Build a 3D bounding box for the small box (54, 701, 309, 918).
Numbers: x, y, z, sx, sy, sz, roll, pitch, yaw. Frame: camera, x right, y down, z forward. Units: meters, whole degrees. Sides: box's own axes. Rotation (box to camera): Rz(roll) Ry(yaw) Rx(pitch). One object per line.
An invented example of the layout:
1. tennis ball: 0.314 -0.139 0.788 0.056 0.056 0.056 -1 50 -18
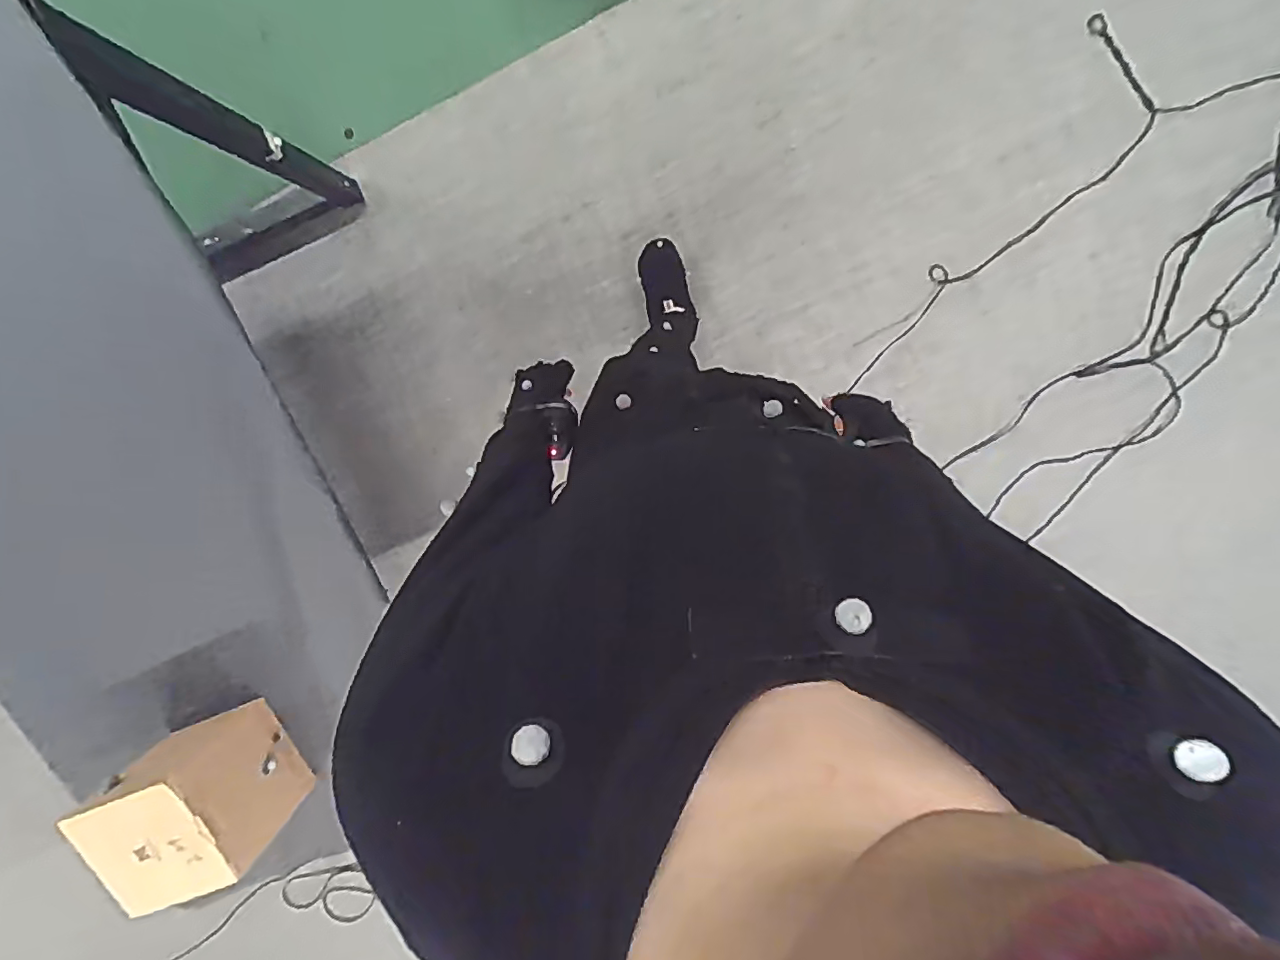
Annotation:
1. small box: -0.617 0.446 0.753 0.179 0.176 0.168 -22 101 6
